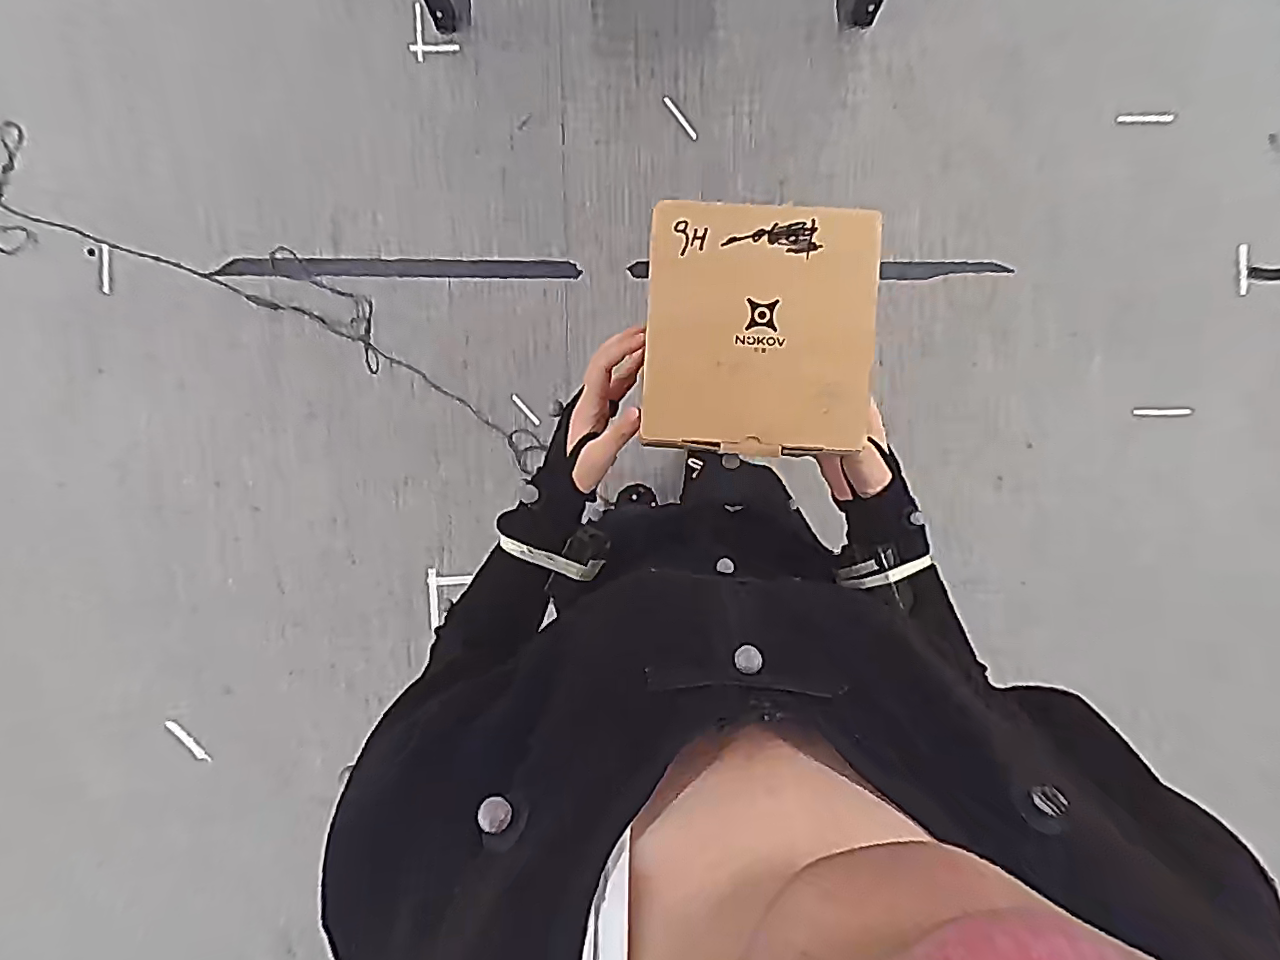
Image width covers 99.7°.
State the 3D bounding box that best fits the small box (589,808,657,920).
[{"bbox_3d":[-0.042,1.005,1.423,0.168,0.176,0.179,2,90,-1],"label":"small box"}]

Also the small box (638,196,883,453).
[{"bbox_3d":[0.087,-0.116,0.468,0.168,0.176,0.179,3,93,0],"label":"small box"}]
